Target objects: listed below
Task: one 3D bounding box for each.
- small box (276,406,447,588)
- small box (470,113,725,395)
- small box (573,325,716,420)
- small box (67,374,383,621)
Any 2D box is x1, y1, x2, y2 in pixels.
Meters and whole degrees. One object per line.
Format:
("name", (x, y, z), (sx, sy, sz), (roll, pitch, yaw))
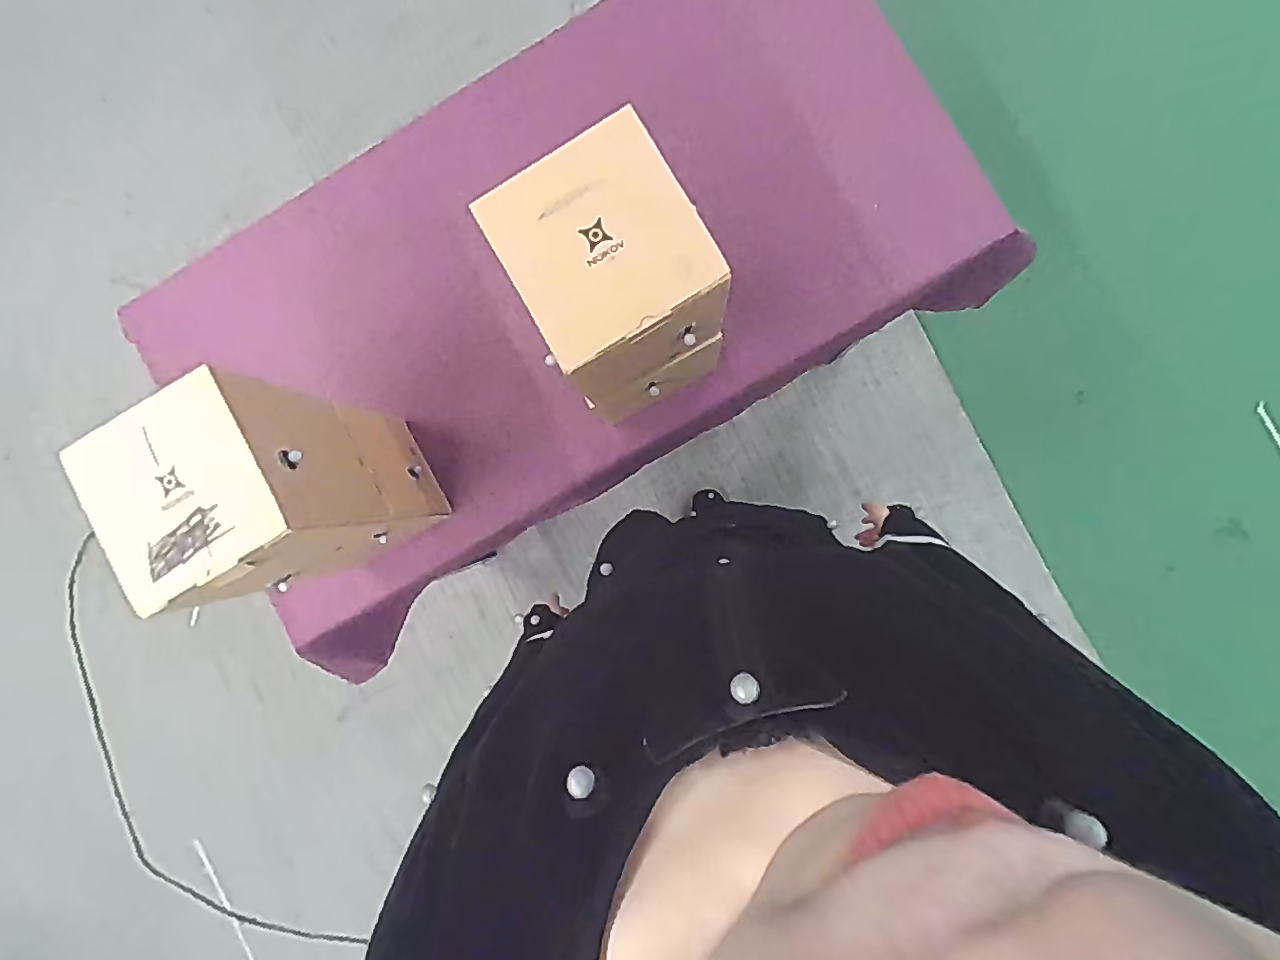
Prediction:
("small box", (-0.400, 0.024, 0.732), (0.179, 0.176, 0.168), (-30, 87, 2))
("small box", (-0.031, -0.201, 0.543), (0.168, 0.176, 0.179), (-31, 86, 3))
("small box", (-0.016, -0.192, 0.705), (0.179, 0.176, 0.168), (-28, 87, 3))
("small box", (-0.412, 0.018, 0.569), (0.168, 0.176, 0.179), (-31, 85, 2))
